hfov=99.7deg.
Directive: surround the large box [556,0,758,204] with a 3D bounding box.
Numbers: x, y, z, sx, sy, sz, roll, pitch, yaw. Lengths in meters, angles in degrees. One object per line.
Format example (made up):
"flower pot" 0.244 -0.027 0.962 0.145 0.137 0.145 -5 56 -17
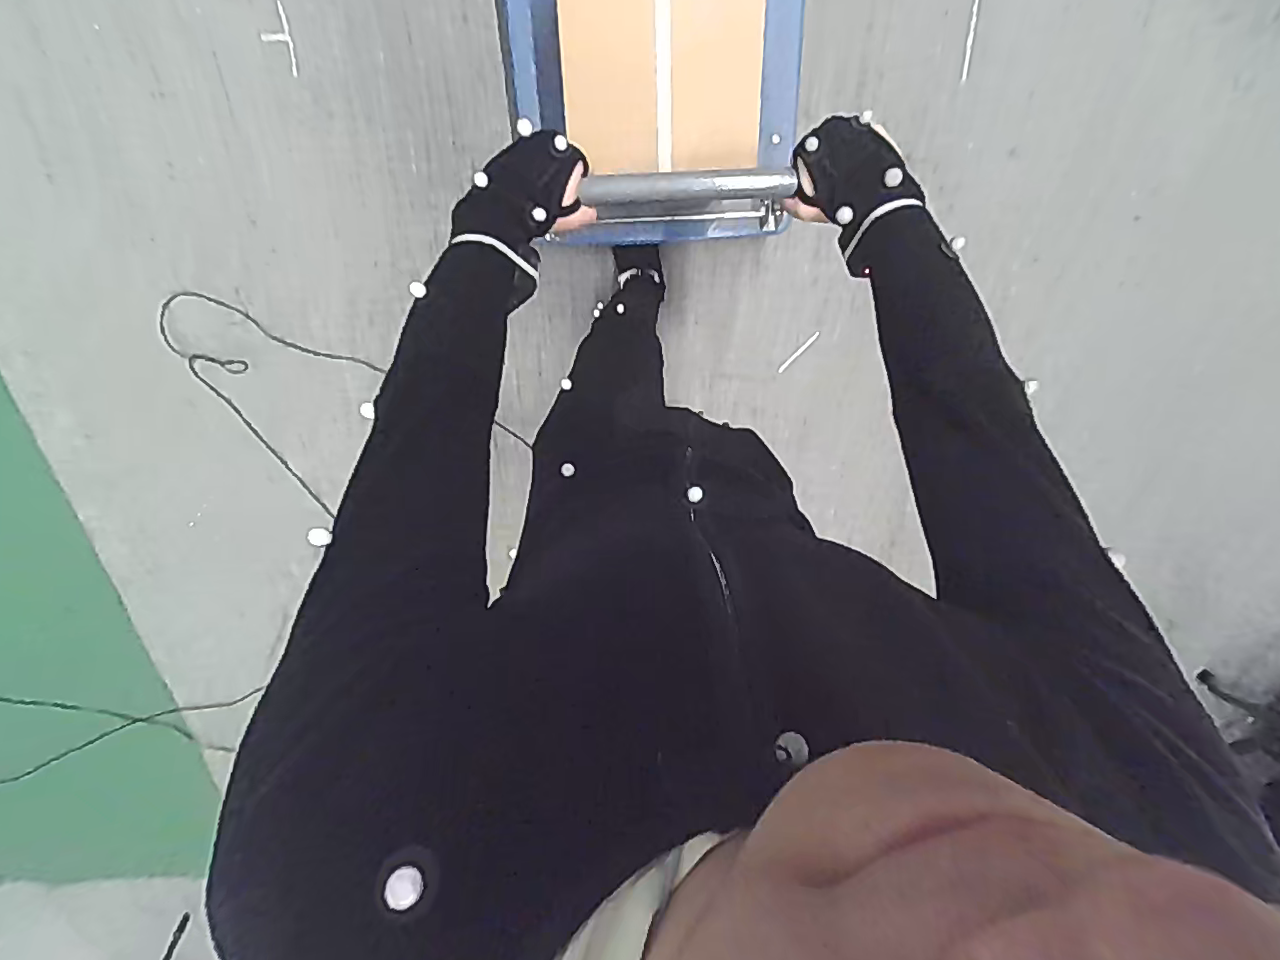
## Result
"large box" 0.030 -0.744 0.981 0.320 0.320 0.408 -2 113 0
